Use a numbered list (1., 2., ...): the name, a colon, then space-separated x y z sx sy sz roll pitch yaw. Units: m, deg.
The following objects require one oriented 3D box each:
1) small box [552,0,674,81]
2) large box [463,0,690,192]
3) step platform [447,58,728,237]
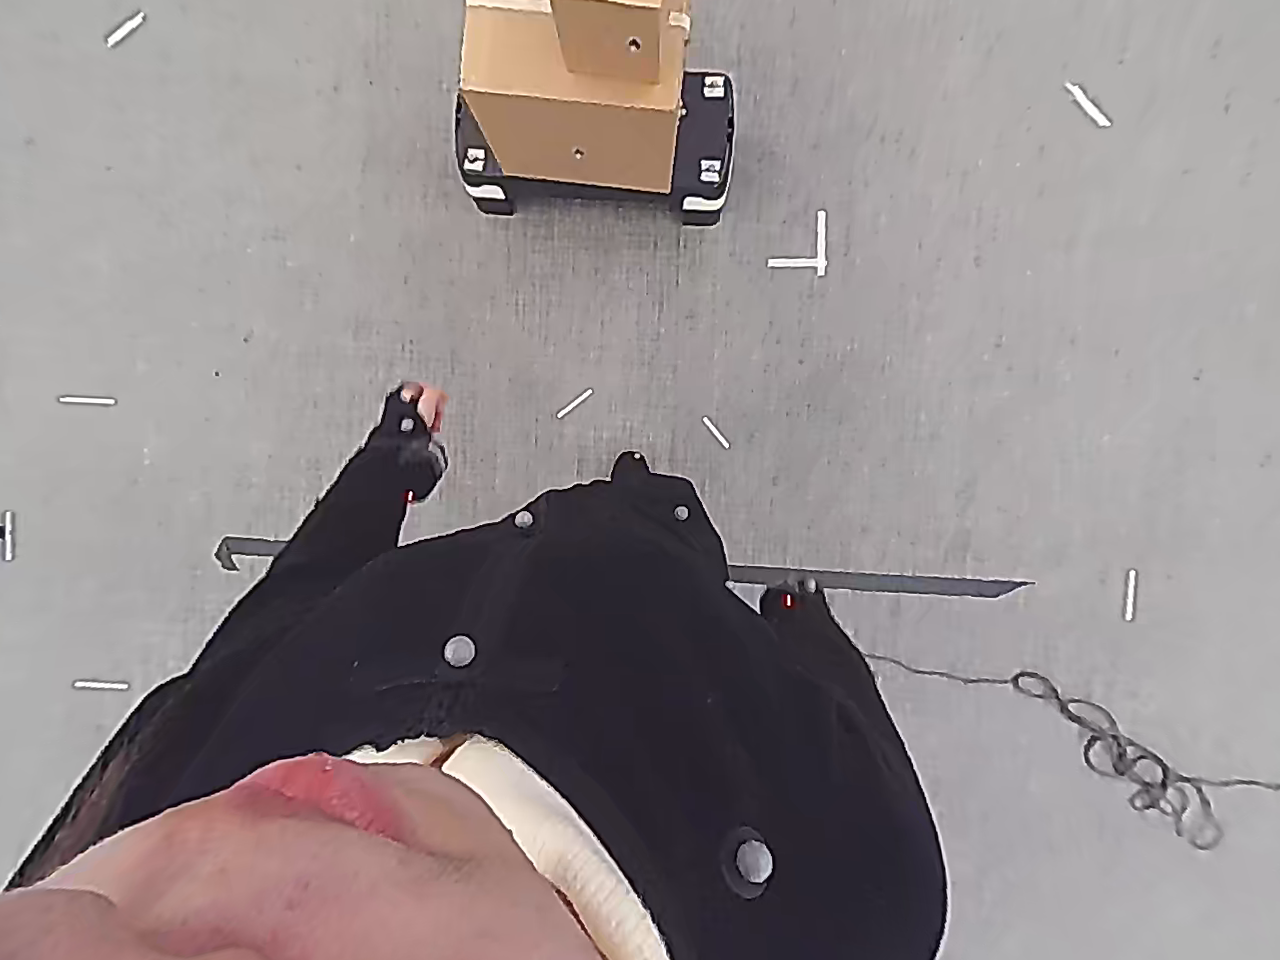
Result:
1. small box: -0.035 -0.794 0.879 0.179 0.176 0.168 9 93 1
2. large box: -0.108 -0.836 1.124 0.408 0.320 0.320 6 91 2
3. step platform: -0.124 -0.835 1.363 0.684 0.204 0.286 8 92 2
